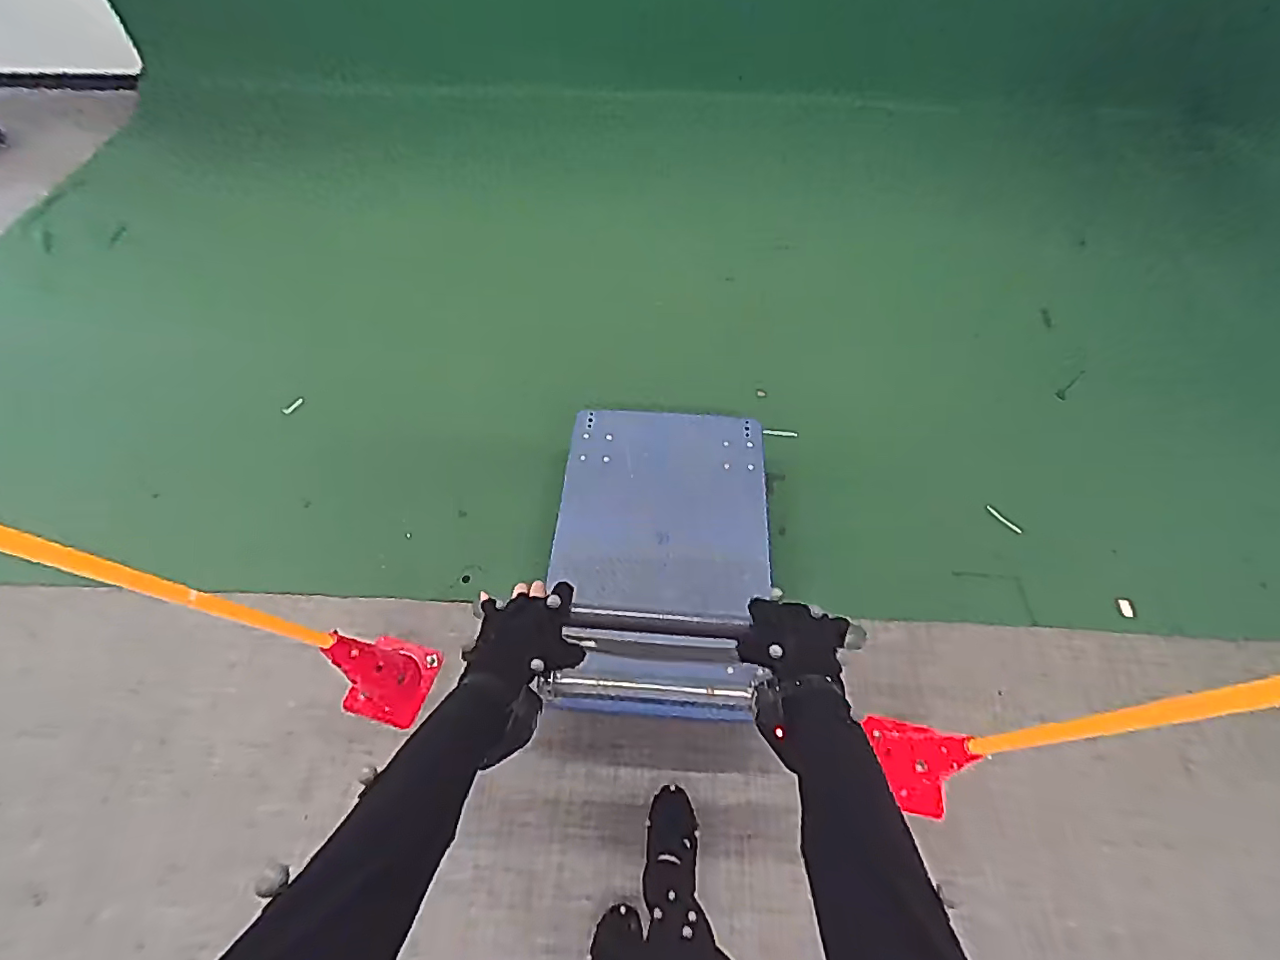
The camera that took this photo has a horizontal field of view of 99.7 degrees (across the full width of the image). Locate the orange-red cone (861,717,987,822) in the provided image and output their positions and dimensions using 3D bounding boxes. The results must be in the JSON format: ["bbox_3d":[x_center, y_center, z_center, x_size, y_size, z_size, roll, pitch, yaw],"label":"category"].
[{"bbox_3d":[0.634,0.600,1.159,0.198,0.360,0.199,11,58,8],"label":"orange-red cone"}]
